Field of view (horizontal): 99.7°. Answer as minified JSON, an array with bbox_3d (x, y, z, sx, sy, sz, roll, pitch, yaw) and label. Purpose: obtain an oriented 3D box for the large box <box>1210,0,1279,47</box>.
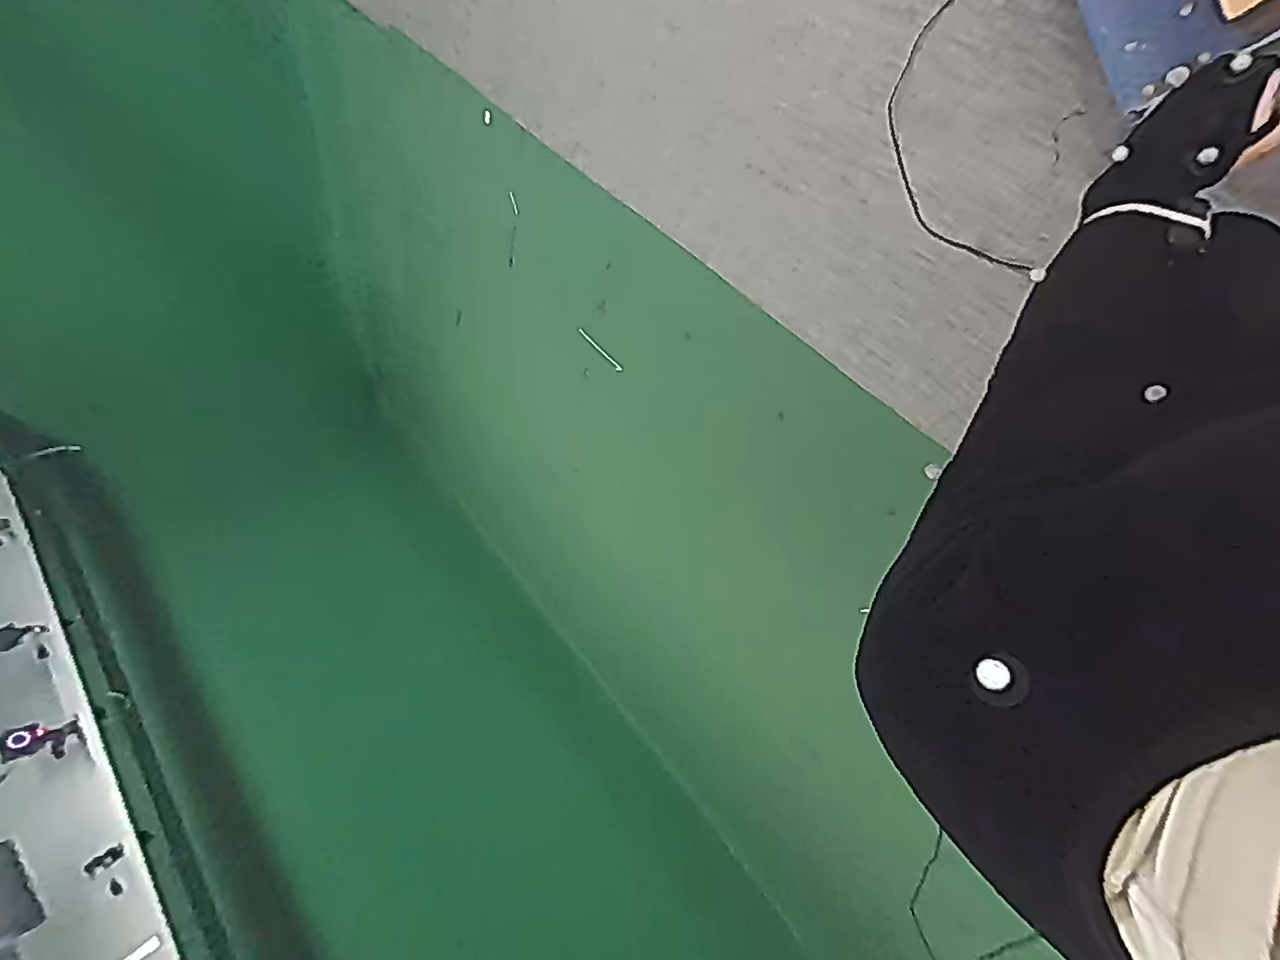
[{"bbox_3d":[0.844,-0.828,0.629,0.320,0.320,0.408,-19,96,53],"label":"large box"}]
